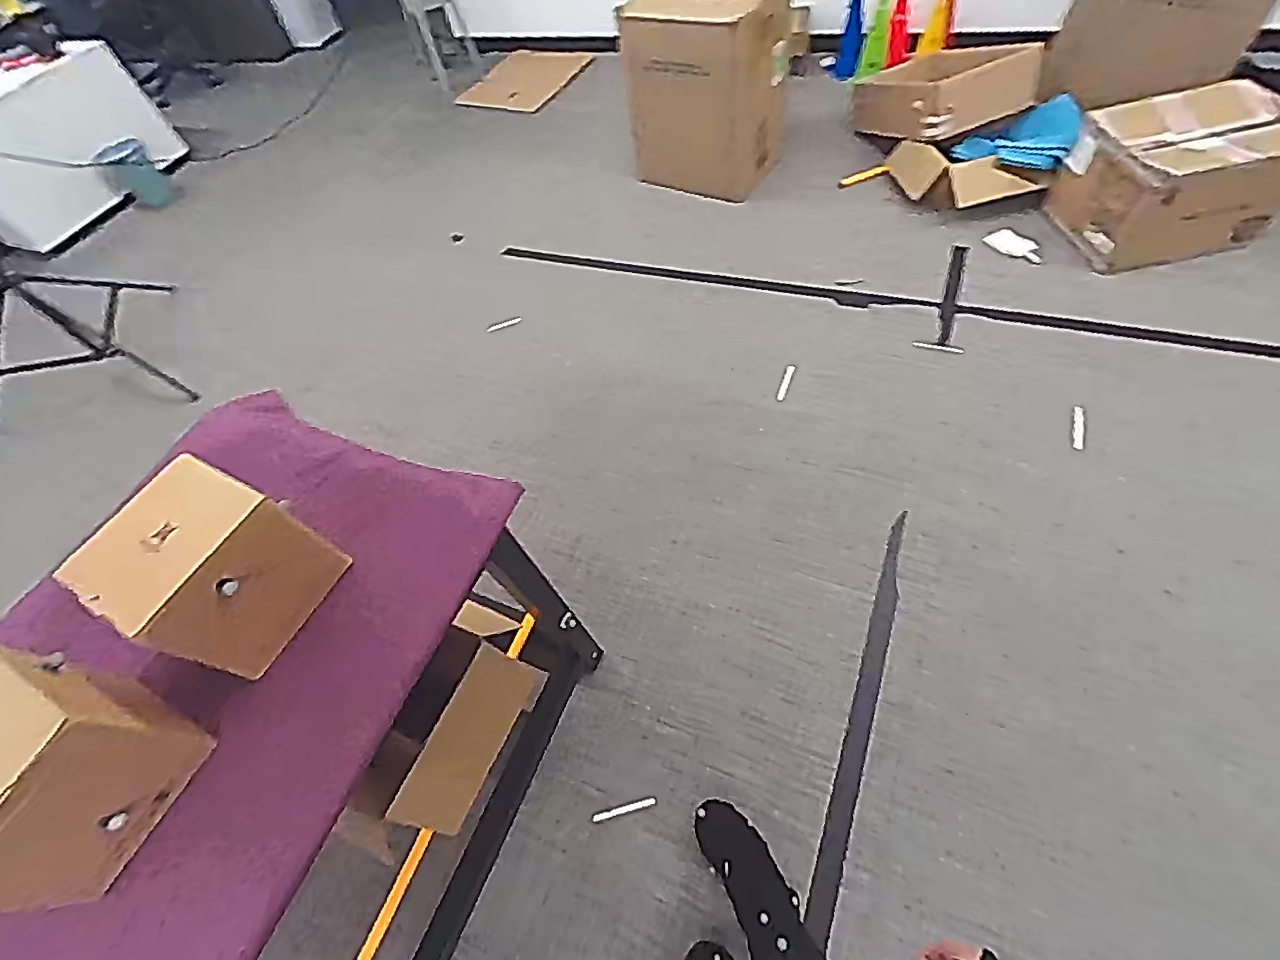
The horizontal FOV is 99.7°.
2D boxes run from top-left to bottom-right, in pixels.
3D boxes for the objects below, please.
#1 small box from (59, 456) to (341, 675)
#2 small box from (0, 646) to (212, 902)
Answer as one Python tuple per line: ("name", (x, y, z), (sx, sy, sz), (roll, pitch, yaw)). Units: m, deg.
("small box", (-0.503, 0.106, 0.653), (0.168, 0.176, 0.179), (19, 63, 22))
("small box", (-0.604, 0.297, 0.545), (0.179, 0.176, 0.168), (18, 63, 20))
